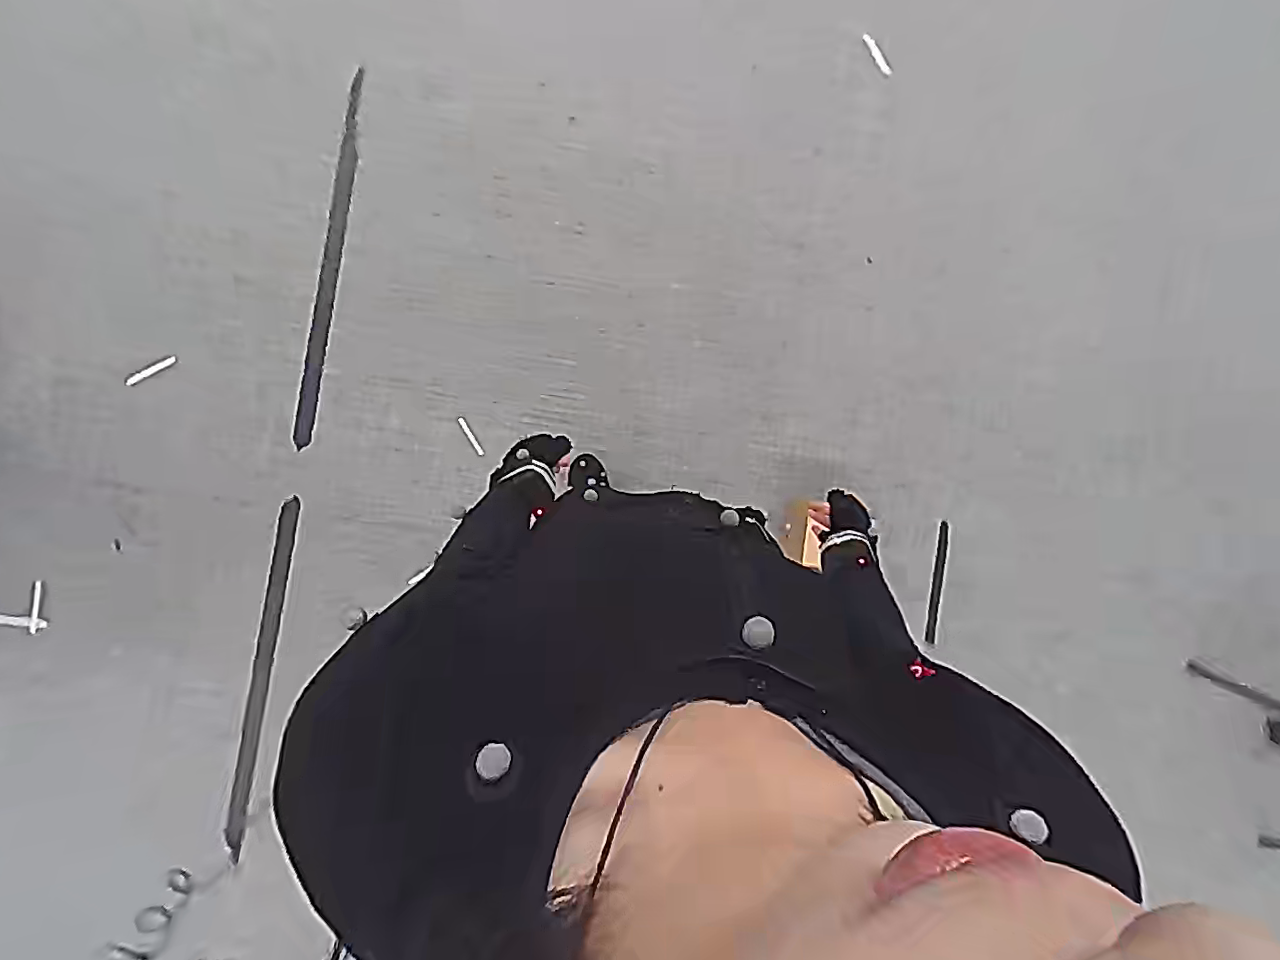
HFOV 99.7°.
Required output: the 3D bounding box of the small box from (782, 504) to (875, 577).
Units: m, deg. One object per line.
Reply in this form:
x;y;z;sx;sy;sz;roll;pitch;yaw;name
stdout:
0.507;0.158;1.468;0.179;0.176;0.168;8;89;-2;small box
